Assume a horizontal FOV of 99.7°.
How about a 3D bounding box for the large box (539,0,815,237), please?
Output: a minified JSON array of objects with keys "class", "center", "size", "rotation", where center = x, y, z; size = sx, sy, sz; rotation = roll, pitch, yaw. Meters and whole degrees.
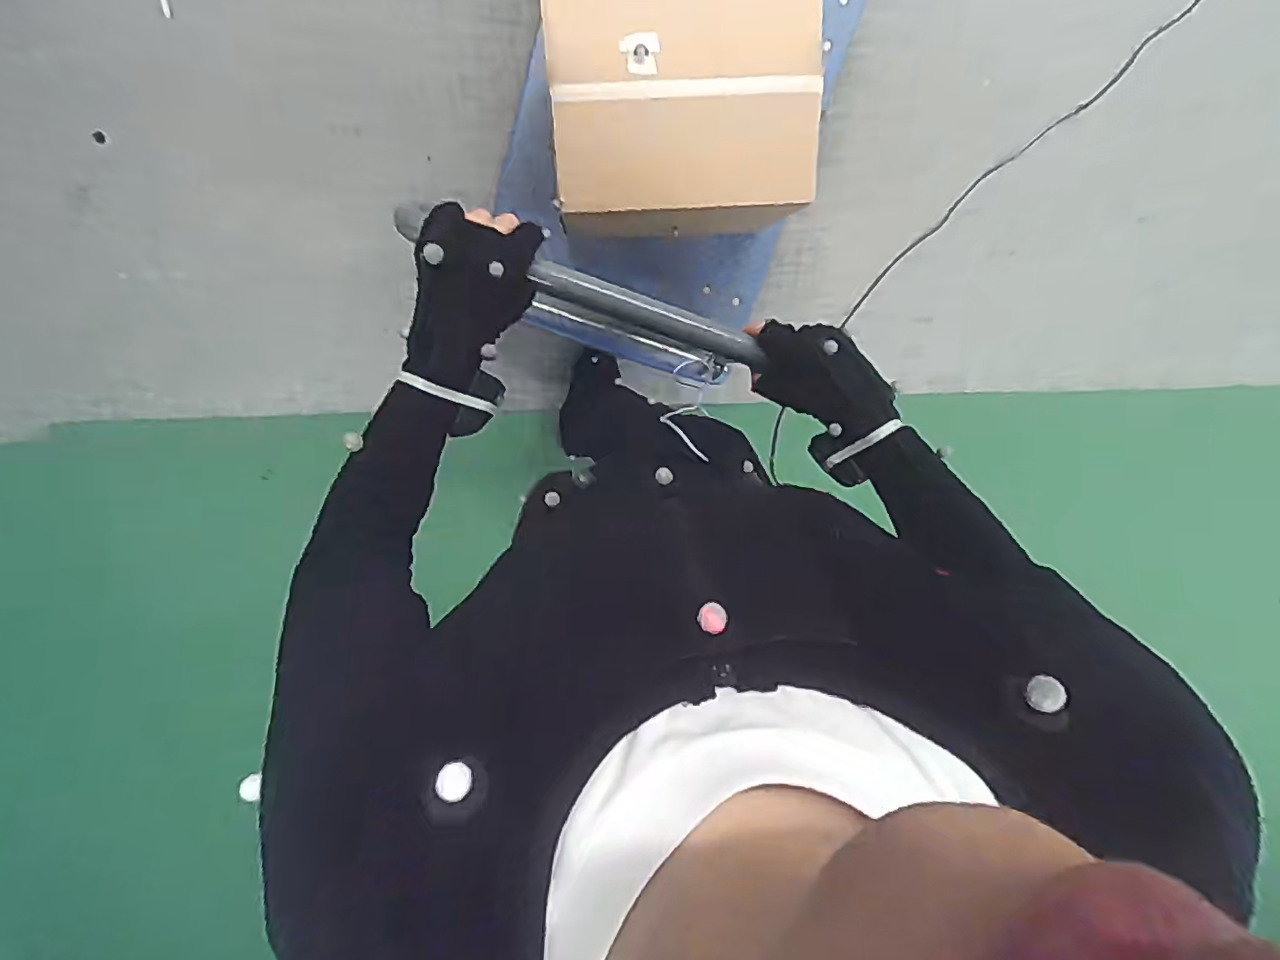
[{"class":"large box","center":[0.056,-0.619,0.949],"size":[0.408,0.320,0.320],"rotation":[-4,106,-3]}]
